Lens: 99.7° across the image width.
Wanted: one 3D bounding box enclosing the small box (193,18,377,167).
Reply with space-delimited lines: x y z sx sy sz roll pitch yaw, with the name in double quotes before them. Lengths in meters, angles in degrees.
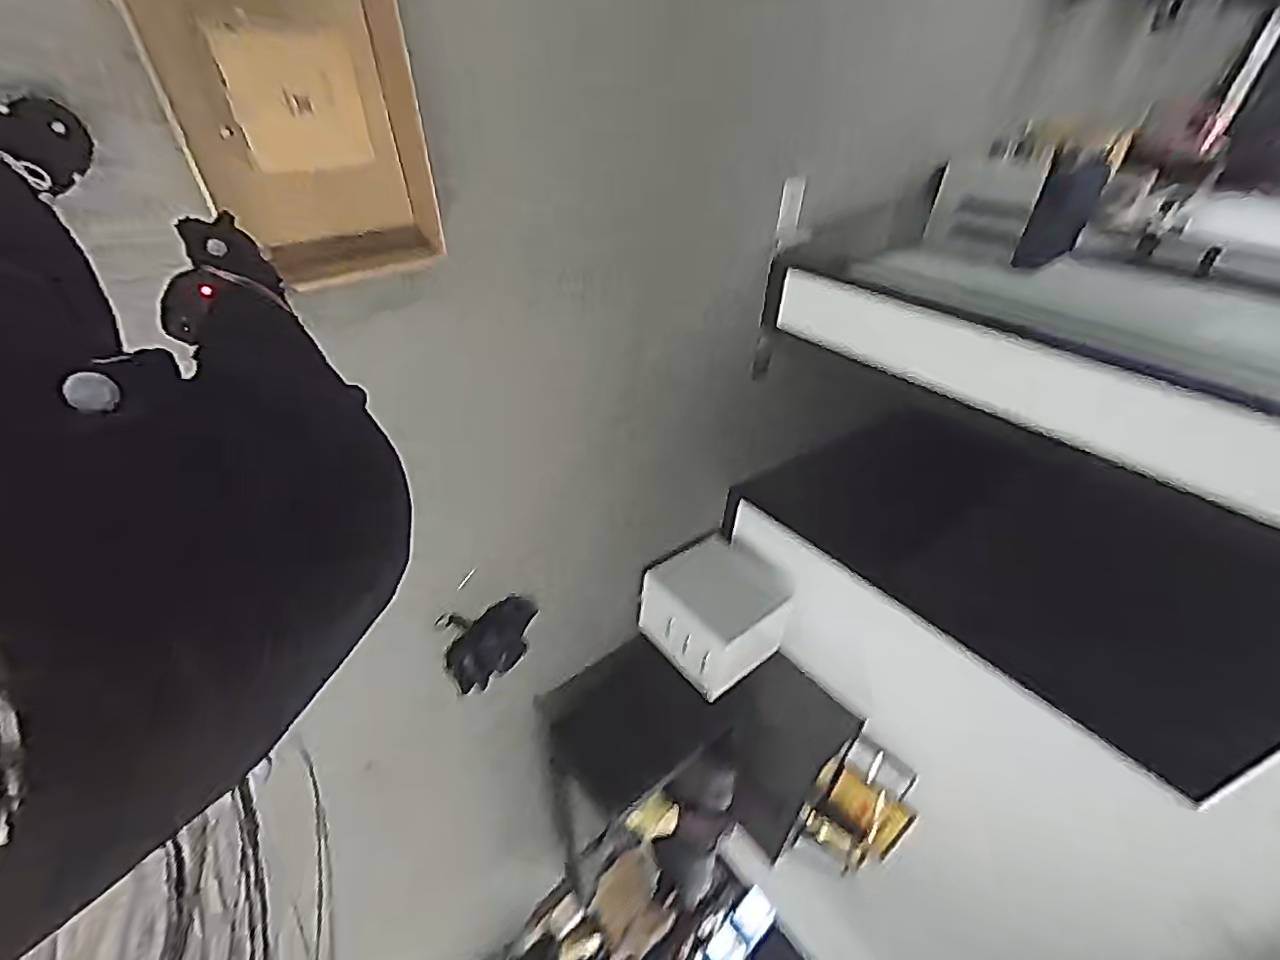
"small box" -0.537 -0.589 0.820 0.179 0.176 0.168 -29 138 -28
